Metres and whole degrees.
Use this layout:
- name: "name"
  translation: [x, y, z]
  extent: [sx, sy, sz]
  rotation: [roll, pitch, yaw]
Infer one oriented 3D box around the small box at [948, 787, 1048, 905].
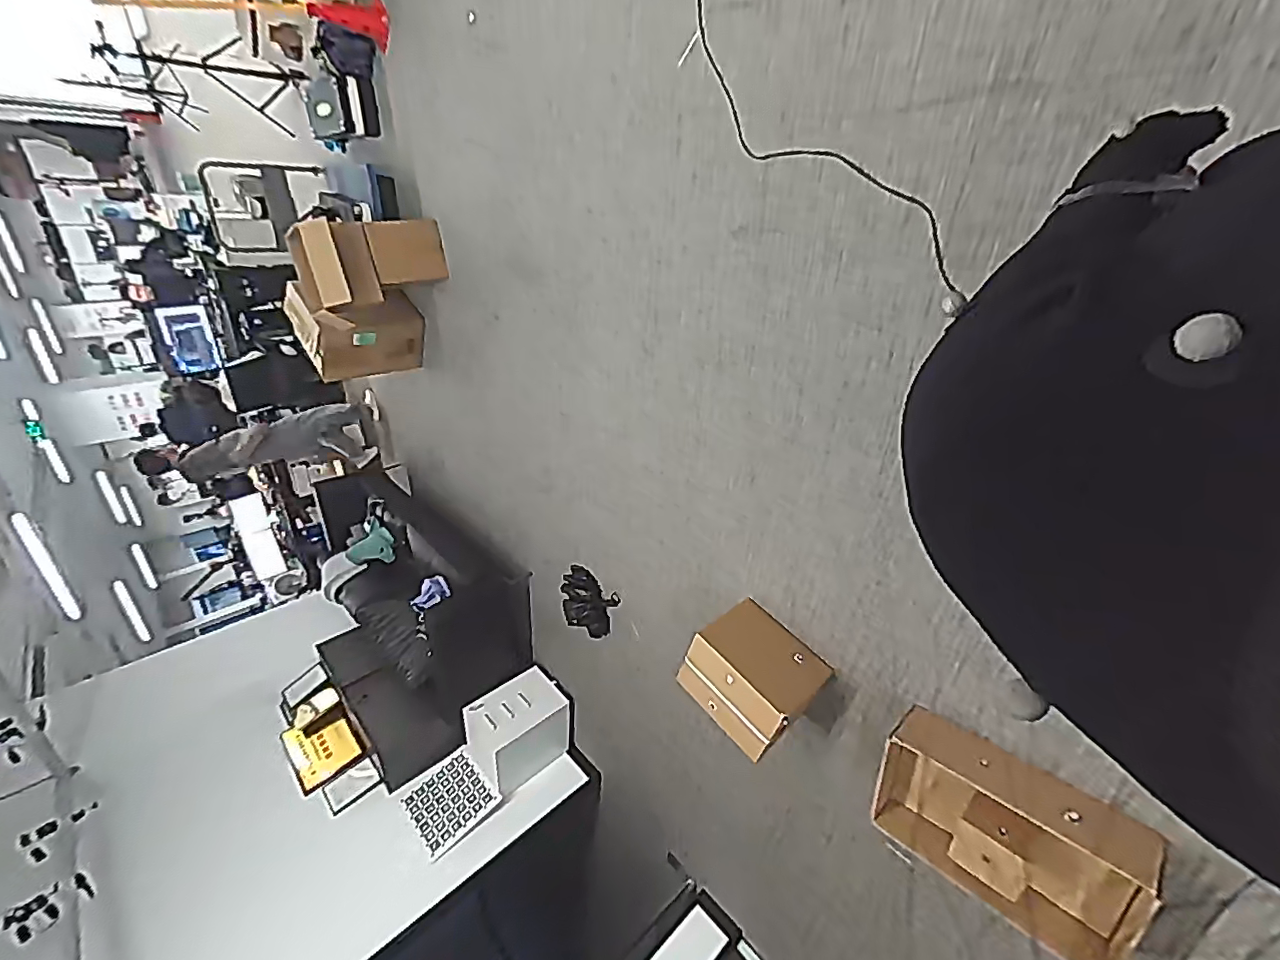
- name: "small box"
  translation: [0.998, 1.008, 1.506]
  extent: [0.179, 0.176, 0.168]
  rotation: [24, 124, 43]
